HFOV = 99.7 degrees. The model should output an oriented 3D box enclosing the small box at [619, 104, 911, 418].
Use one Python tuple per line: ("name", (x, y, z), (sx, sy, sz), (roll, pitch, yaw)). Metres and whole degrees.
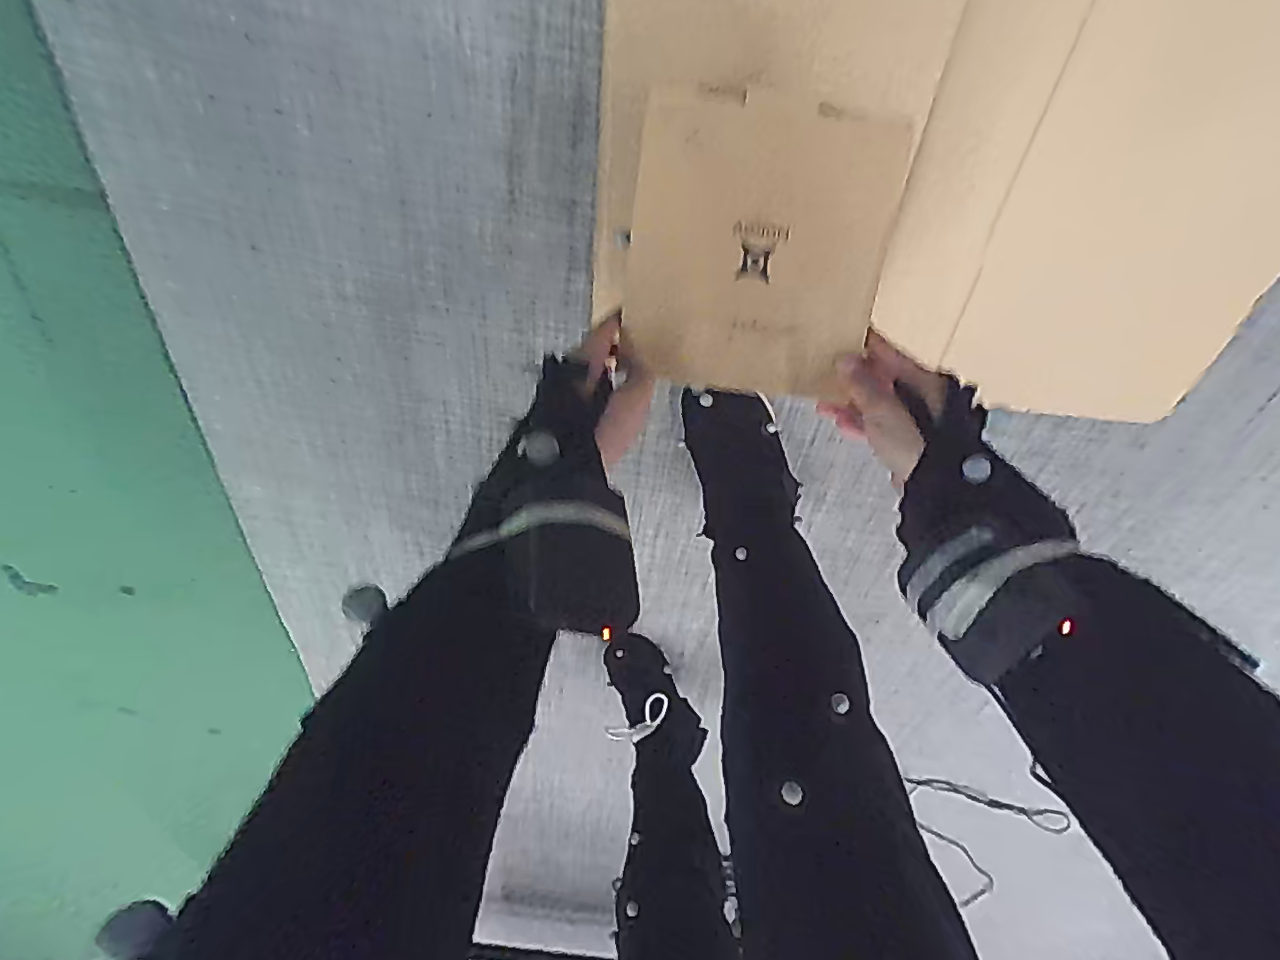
("small box", (0.079, -0.156, 0.427), (0.168, 0.176, 0.179), (7, 105, 1))
